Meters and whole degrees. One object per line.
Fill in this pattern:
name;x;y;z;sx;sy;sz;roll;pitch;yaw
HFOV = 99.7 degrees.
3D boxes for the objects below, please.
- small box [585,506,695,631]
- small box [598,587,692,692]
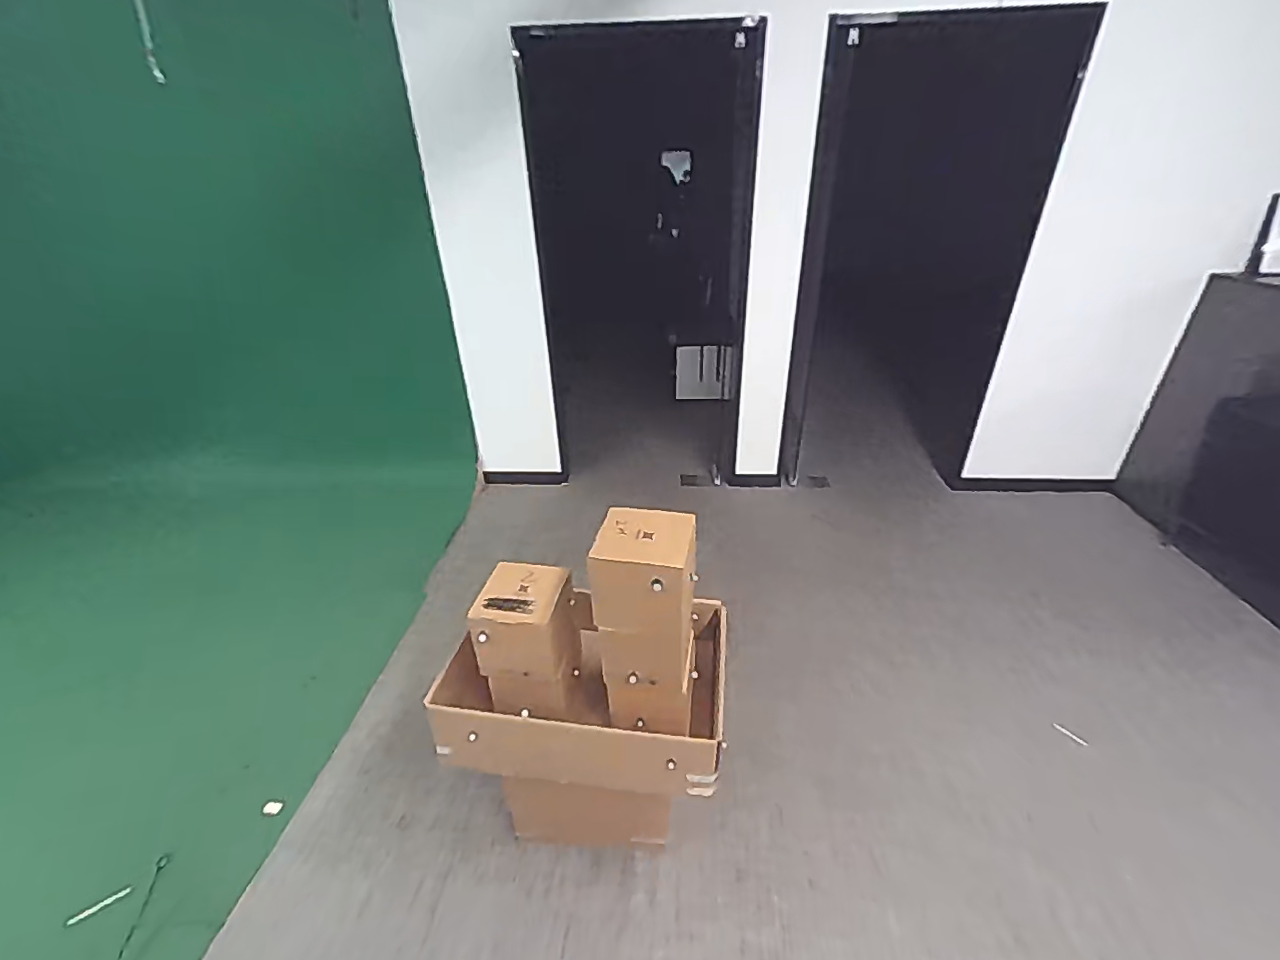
small box;0.009;0.169;1.043;0.179;0.176;0.168;3;31;13
small box;0.017;0.309;1.131;0.168;0.176;0.179;3;32;11
